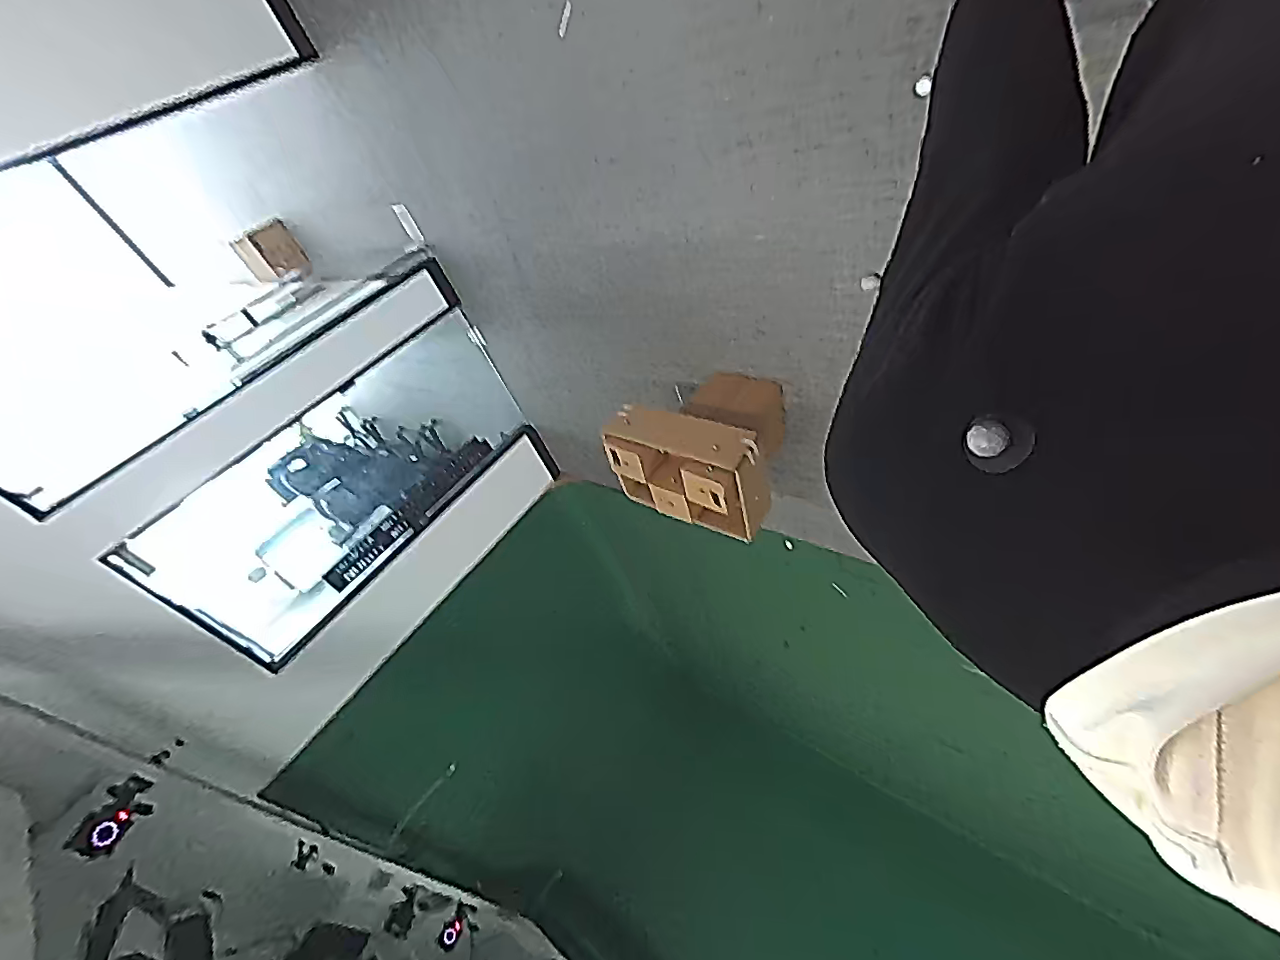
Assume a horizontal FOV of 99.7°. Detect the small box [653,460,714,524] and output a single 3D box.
[{"bbox_3d":[0.182,0.041,2.159,0.179,0.176,0.168,19,144,34],"label":"small box"}]
